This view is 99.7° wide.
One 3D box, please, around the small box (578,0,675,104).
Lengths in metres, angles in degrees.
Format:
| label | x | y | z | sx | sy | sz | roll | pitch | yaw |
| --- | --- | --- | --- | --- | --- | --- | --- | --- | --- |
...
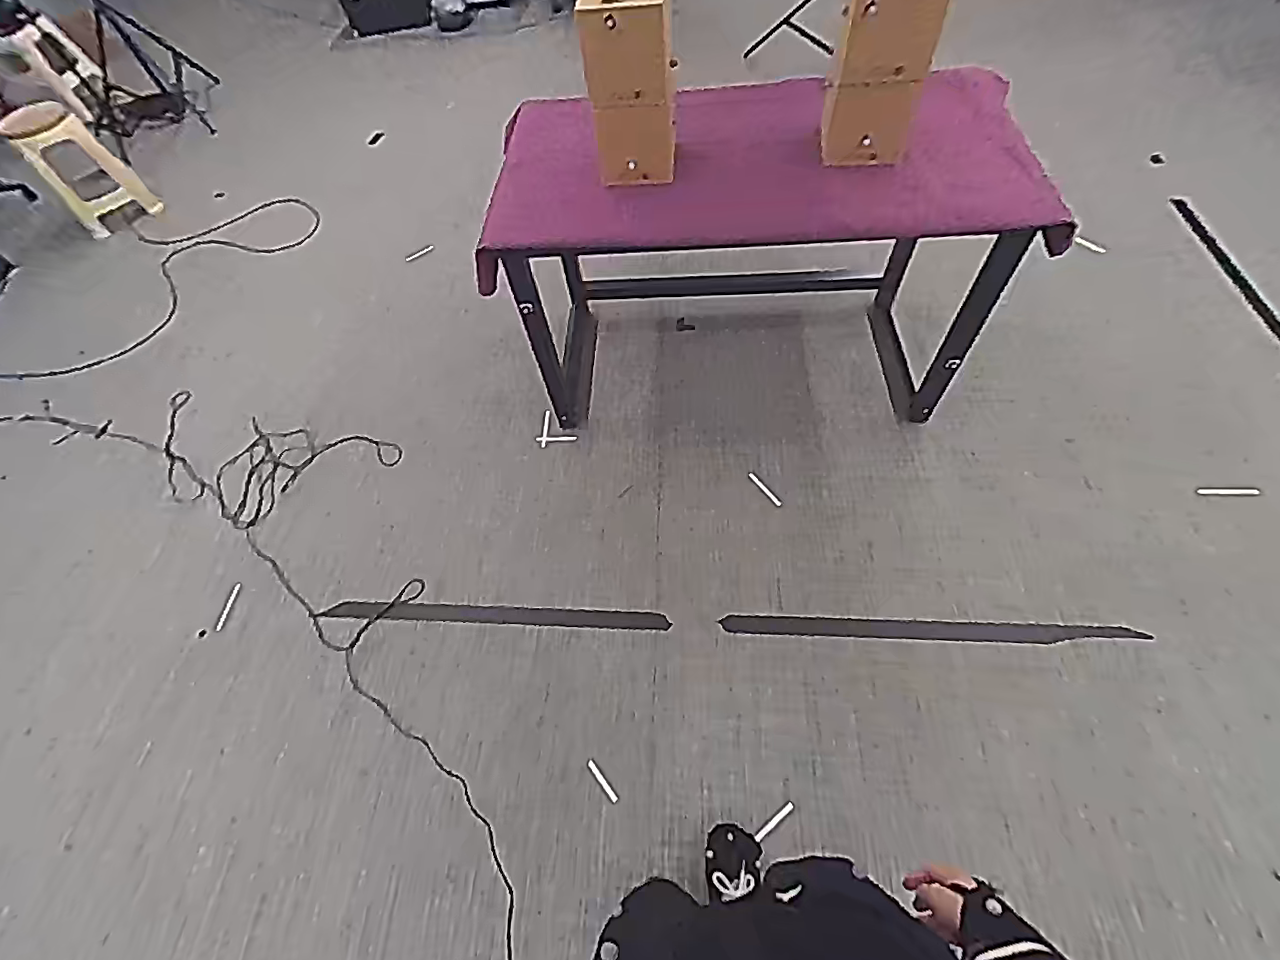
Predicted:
| label | x | y | z | sx | sy | sz | roll | pitch | yaw |
| --- | --- | --- | --- | --- | --- | --- | --- | --- | --- |
| small box | -0.018 | -0.884 | 1.080 | 0.168 | 0.176 | 0.179 | 2 | 59 | 7 |

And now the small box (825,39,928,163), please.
| label | x | y | z | sx | sy | sz | roll | pitch | yaw |
| --- | --- | --- | --- | --- | --- | --- | --- | --- | --- |
| small box | 0.504 | -0.823 | 1.179 | 0.168 | 0.176 | 0.179 | 4 | 60 | 10 |

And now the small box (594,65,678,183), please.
| label | x | y | z | sx | sy | sz | roll | pitch | yaw |
| --- | --- | --- | --- | --- | --- | --- | --- | --- | --- |
| small box | -0.002 | -0.801 | 1.220 | 0.168 | 0.176 | 0.179 | 1 | 60 | 7 |
